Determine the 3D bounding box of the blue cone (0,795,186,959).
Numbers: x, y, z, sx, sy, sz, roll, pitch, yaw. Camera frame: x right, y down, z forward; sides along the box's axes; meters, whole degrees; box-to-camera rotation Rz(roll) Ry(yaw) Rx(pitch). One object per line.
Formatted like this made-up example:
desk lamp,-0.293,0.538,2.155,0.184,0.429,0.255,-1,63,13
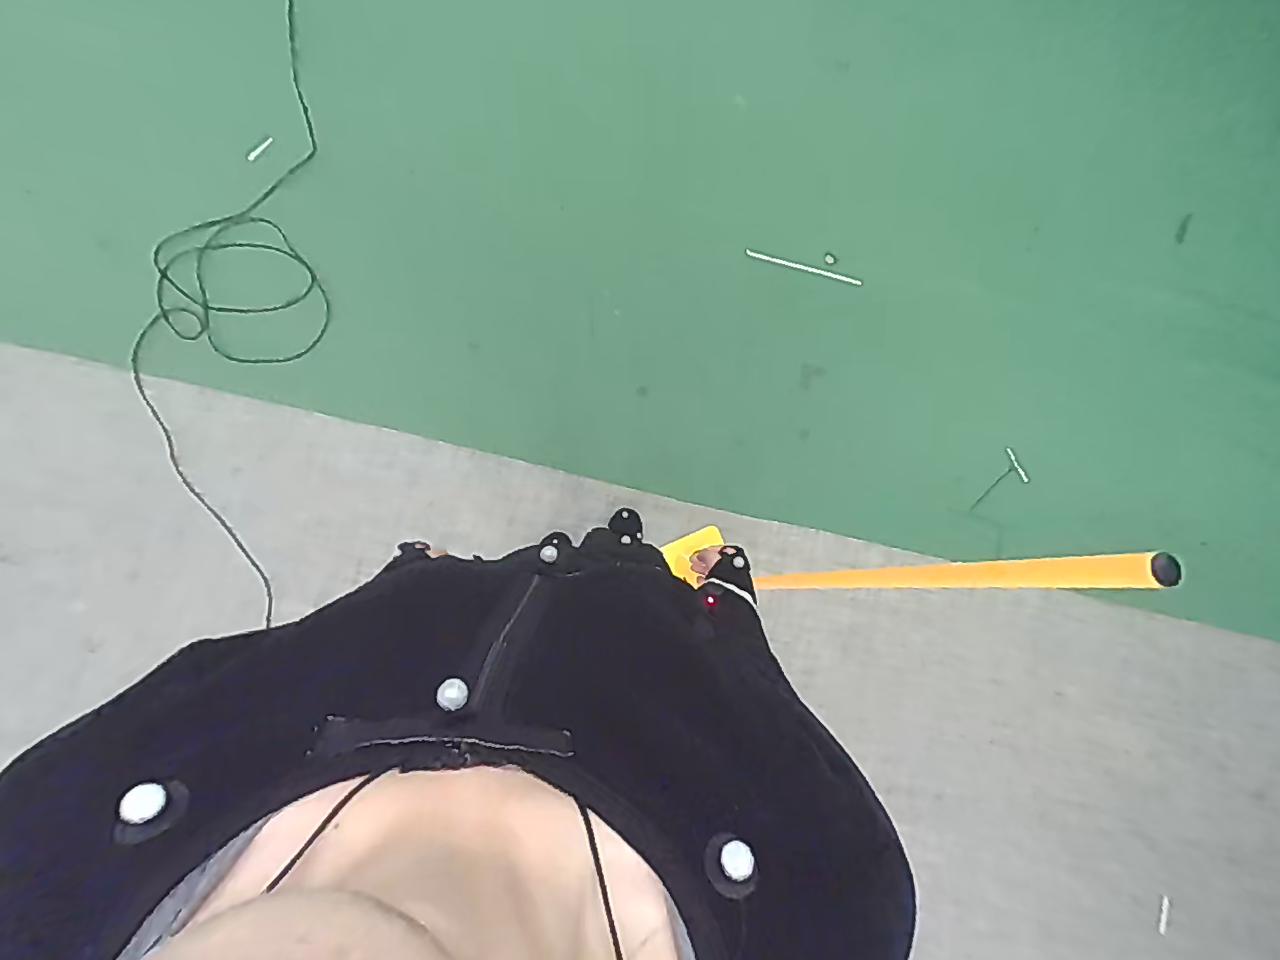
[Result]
blue cone,-1.194,0.873,1.133,0.193,0.380,0.192,-31,91,-7
